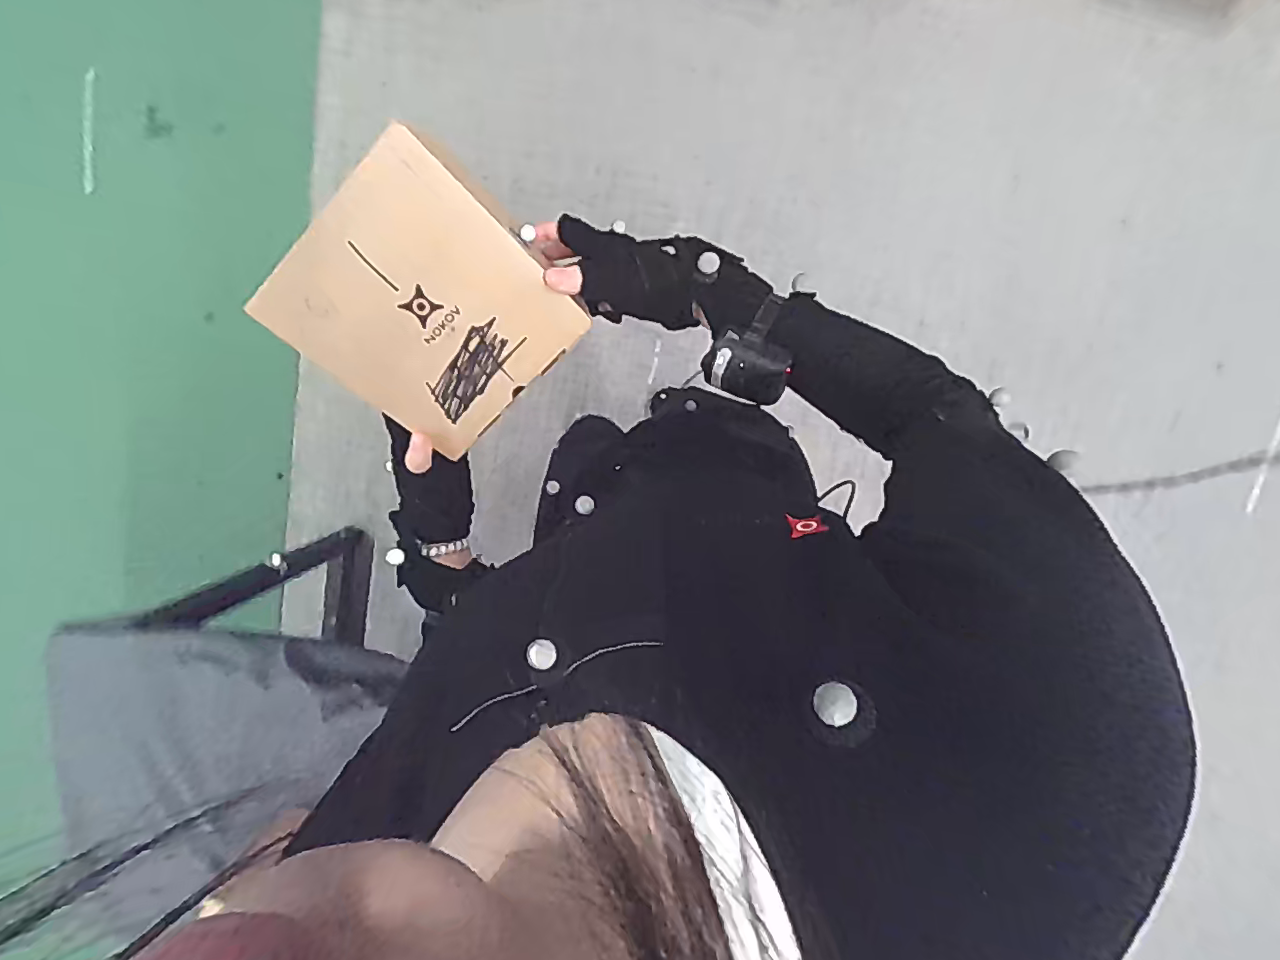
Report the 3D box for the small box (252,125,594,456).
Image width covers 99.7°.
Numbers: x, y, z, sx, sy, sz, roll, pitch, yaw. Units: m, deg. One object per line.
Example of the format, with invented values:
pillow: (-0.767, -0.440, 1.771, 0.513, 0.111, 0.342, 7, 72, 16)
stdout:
small box: (-0.161, -0.159, 0.455, 0.168, 0.176, 0.179, -40, 119, 11)
